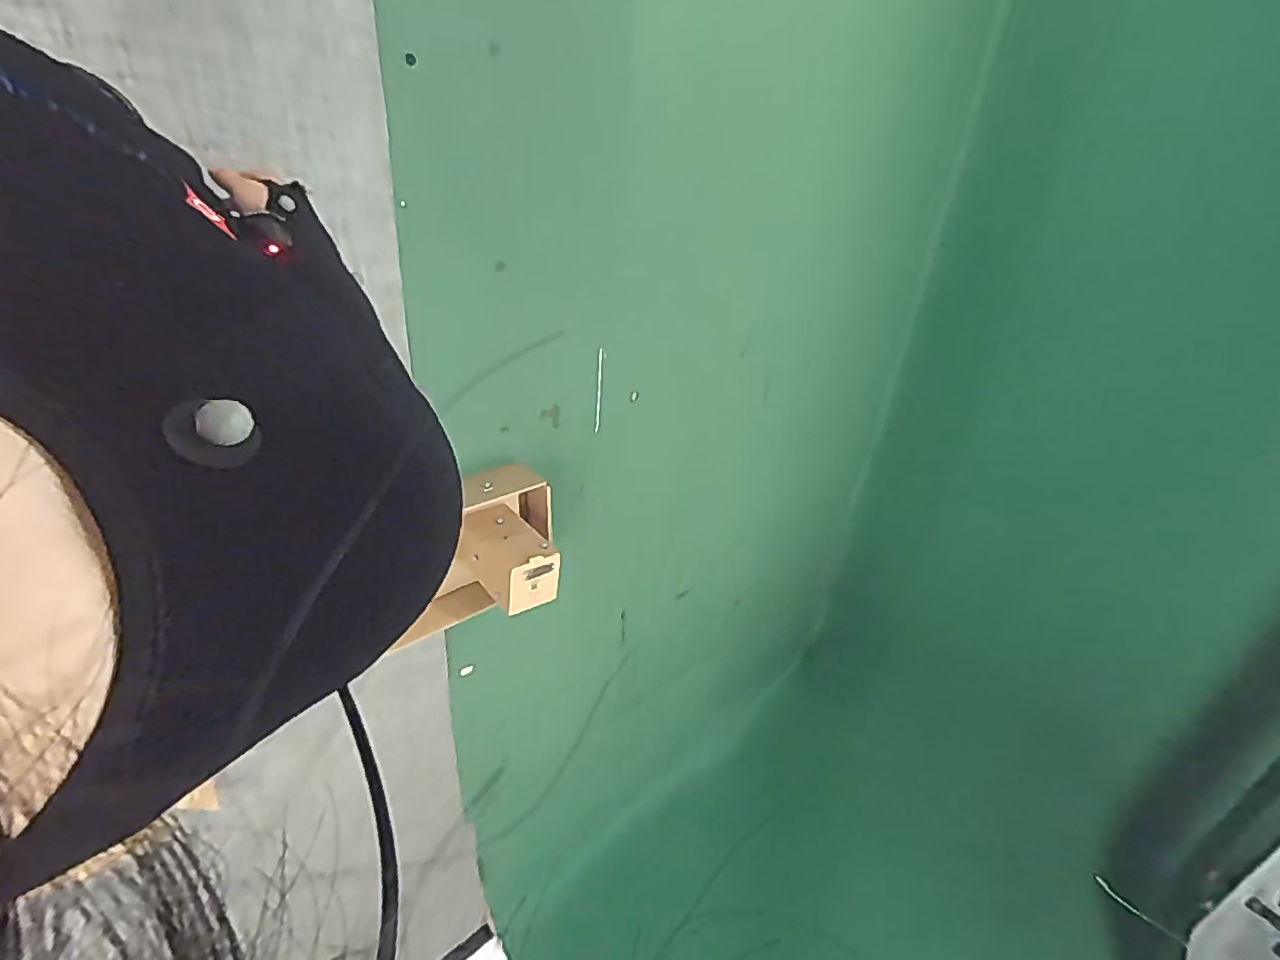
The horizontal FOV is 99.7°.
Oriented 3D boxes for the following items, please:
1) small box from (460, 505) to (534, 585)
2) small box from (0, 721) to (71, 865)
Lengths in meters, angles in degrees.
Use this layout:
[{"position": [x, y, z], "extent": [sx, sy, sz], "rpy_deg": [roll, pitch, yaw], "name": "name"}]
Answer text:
[{"position": [-0.460, 0.202, 1.744], "extent": [0.179, 0.176, 0.168], "rpy_deg": [-19, 126, -37], "name": "small box"}, {"position": [-1.213, 0.597, 1.013], "extent": [0.168, 0.176, 0.179], "rpy_deg": [-22, 127, -39], "name": "small box"}]
